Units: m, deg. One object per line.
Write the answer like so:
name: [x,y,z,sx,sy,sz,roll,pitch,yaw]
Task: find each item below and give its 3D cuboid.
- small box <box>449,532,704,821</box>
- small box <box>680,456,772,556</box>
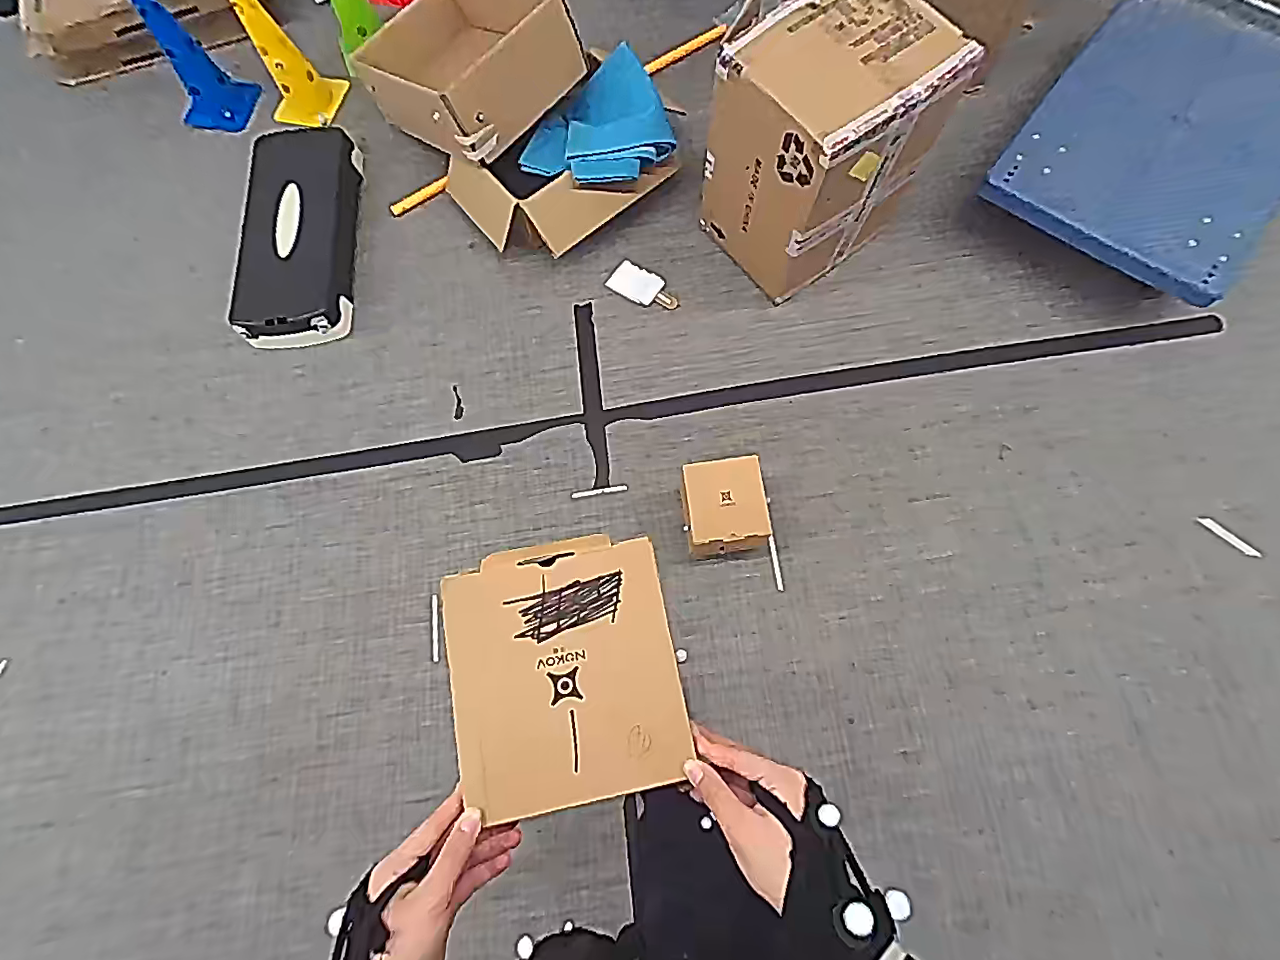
small box: [-0.053,0.159,0.467,0.168,0.176,0.179,-10,73,-5]
small box: [0.183,0.063,1.207,0.168,0.176,0.179,-8,74,0]
